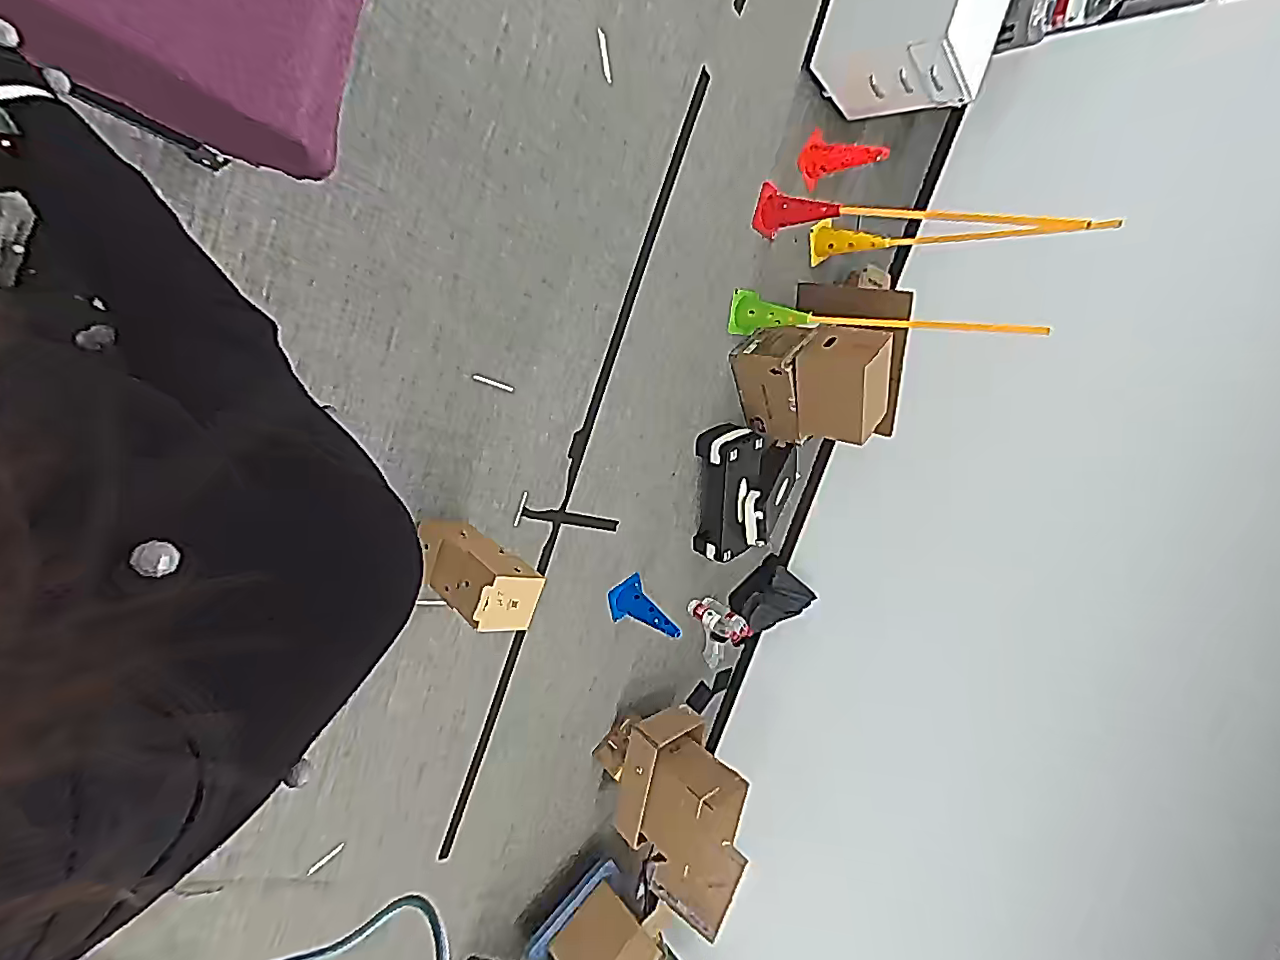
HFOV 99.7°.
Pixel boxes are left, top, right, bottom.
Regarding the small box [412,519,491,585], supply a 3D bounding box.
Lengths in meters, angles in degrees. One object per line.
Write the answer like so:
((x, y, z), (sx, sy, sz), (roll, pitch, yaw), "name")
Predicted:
((-0.626, 0.235, 1.785), (0.179, 0.176, 0.168), (8, 102, -47), "small box")

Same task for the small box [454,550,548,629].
((-0.401, 0.313, 1.554), (0.179, 0.176, 0.168), (16, 97, -47), "small box")
